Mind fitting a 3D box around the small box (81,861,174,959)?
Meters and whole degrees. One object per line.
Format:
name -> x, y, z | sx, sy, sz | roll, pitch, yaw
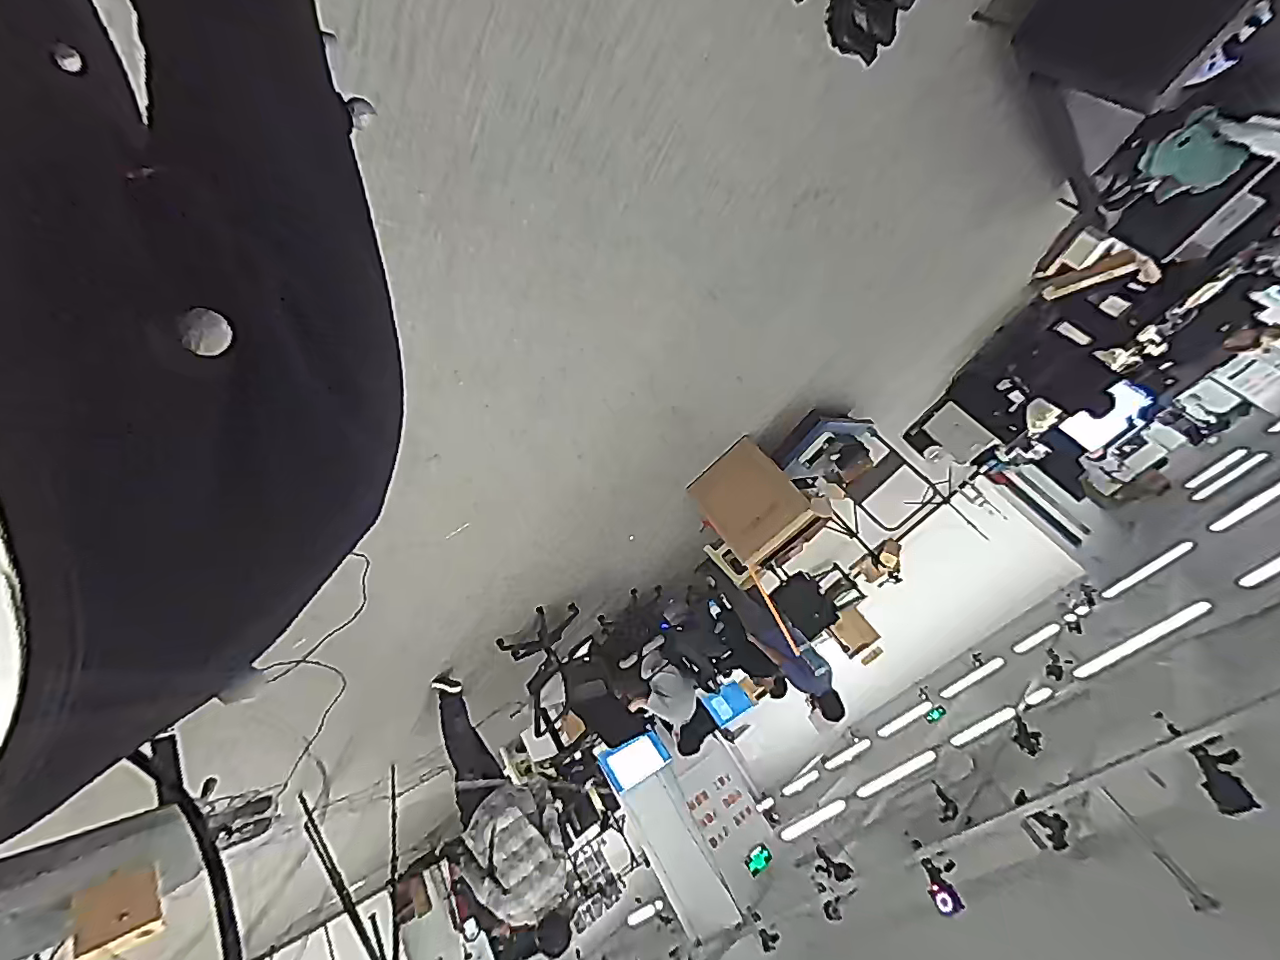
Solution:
small box -> -1.466, 1.240, 1.550 | 0.179, 0.176, 0.168 | -8, 141, -42
